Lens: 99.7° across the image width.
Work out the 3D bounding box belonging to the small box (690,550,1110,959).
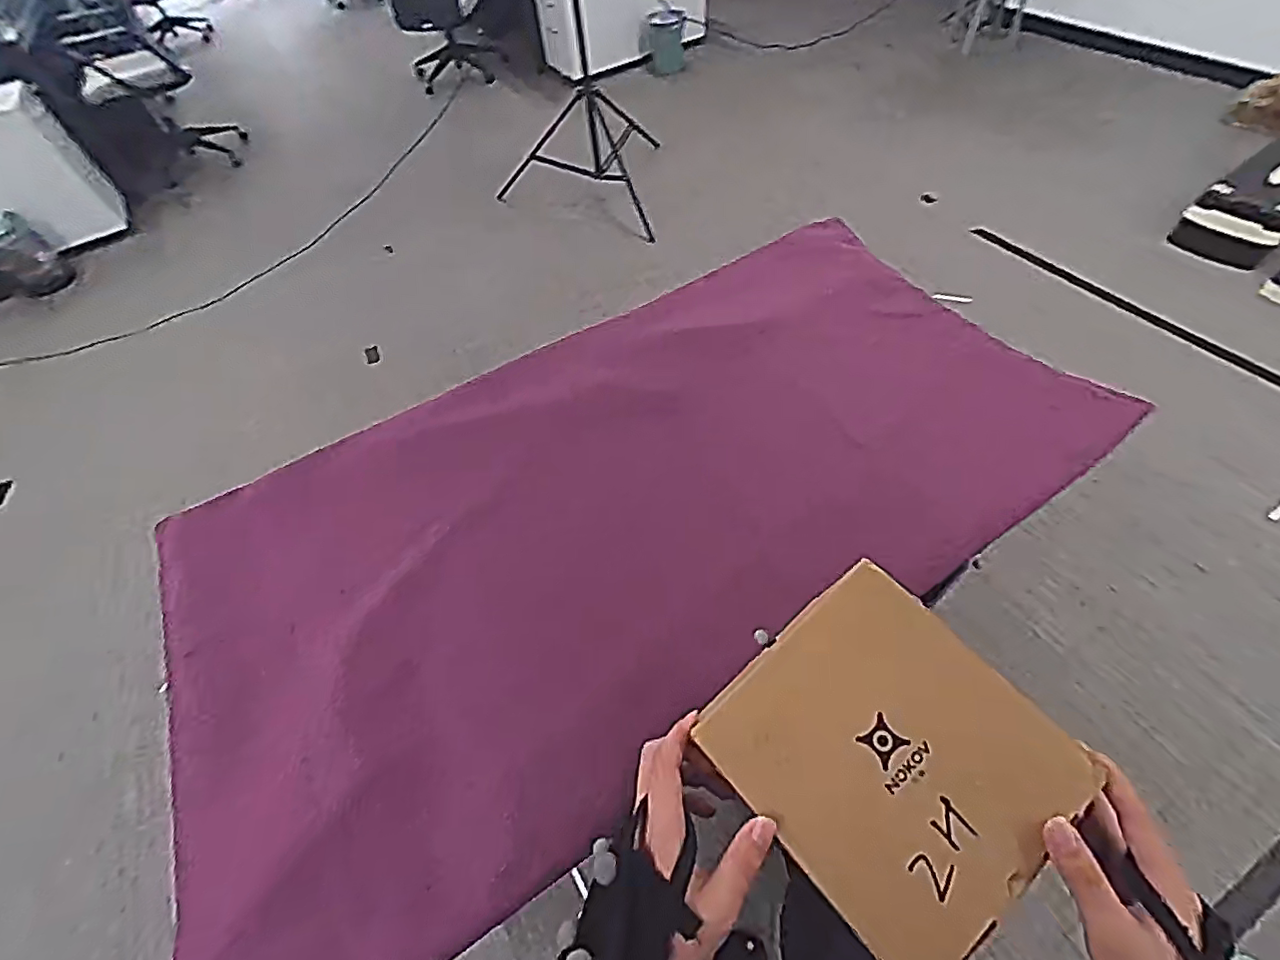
[{"bbox_3d":[0.152,0.183,0.386,0.168,0.176,0.179,-41,70,-10],"label":"small box"}]
